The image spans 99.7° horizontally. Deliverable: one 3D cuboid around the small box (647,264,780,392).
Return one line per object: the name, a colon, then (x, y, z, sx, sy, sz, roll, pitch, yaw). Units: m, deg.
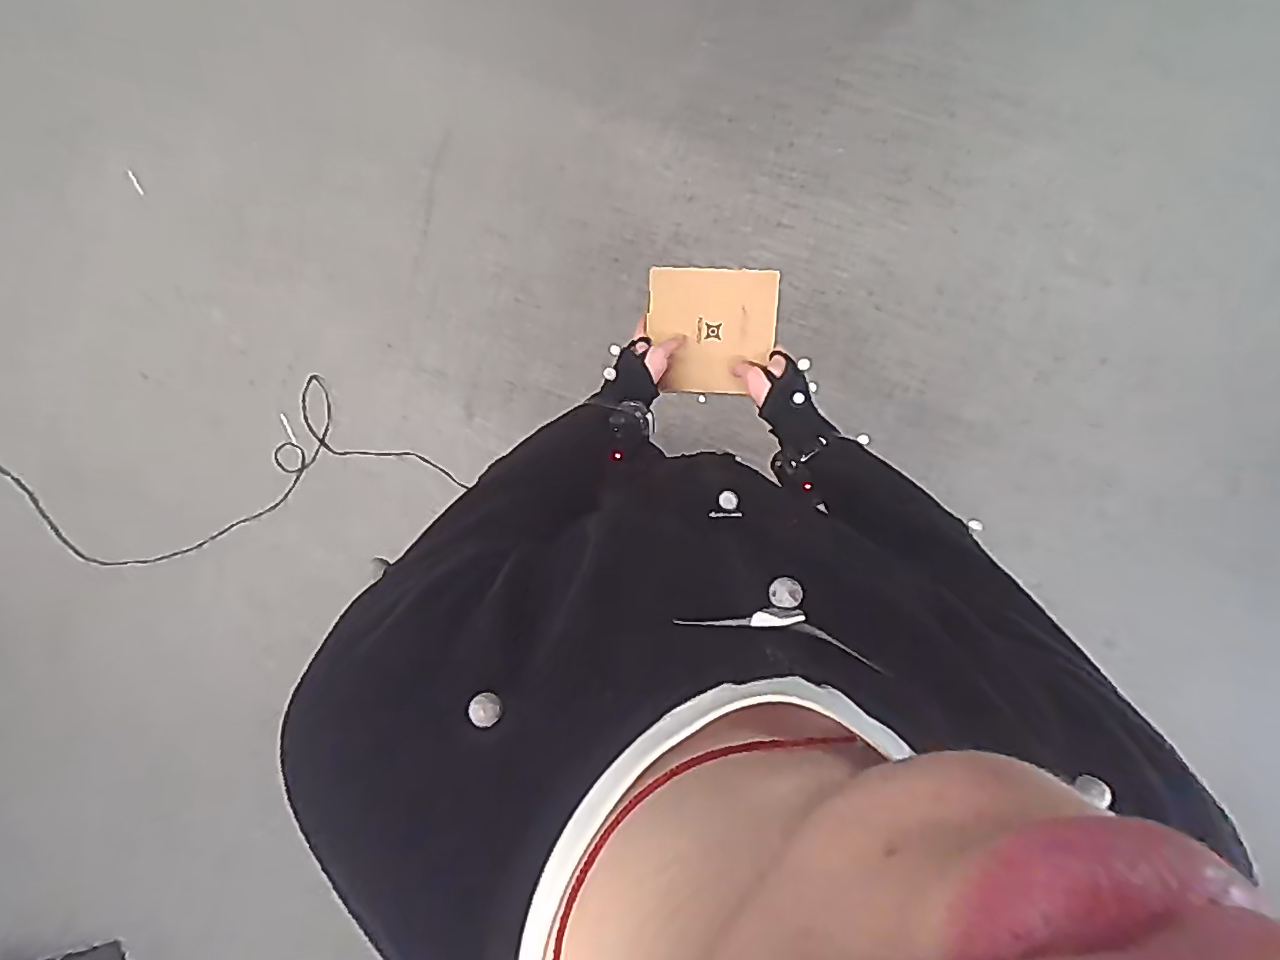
small box: (0.104, -0.219, 0.815, 0.179, 0.176, 0.168, 2, 100, 3)
